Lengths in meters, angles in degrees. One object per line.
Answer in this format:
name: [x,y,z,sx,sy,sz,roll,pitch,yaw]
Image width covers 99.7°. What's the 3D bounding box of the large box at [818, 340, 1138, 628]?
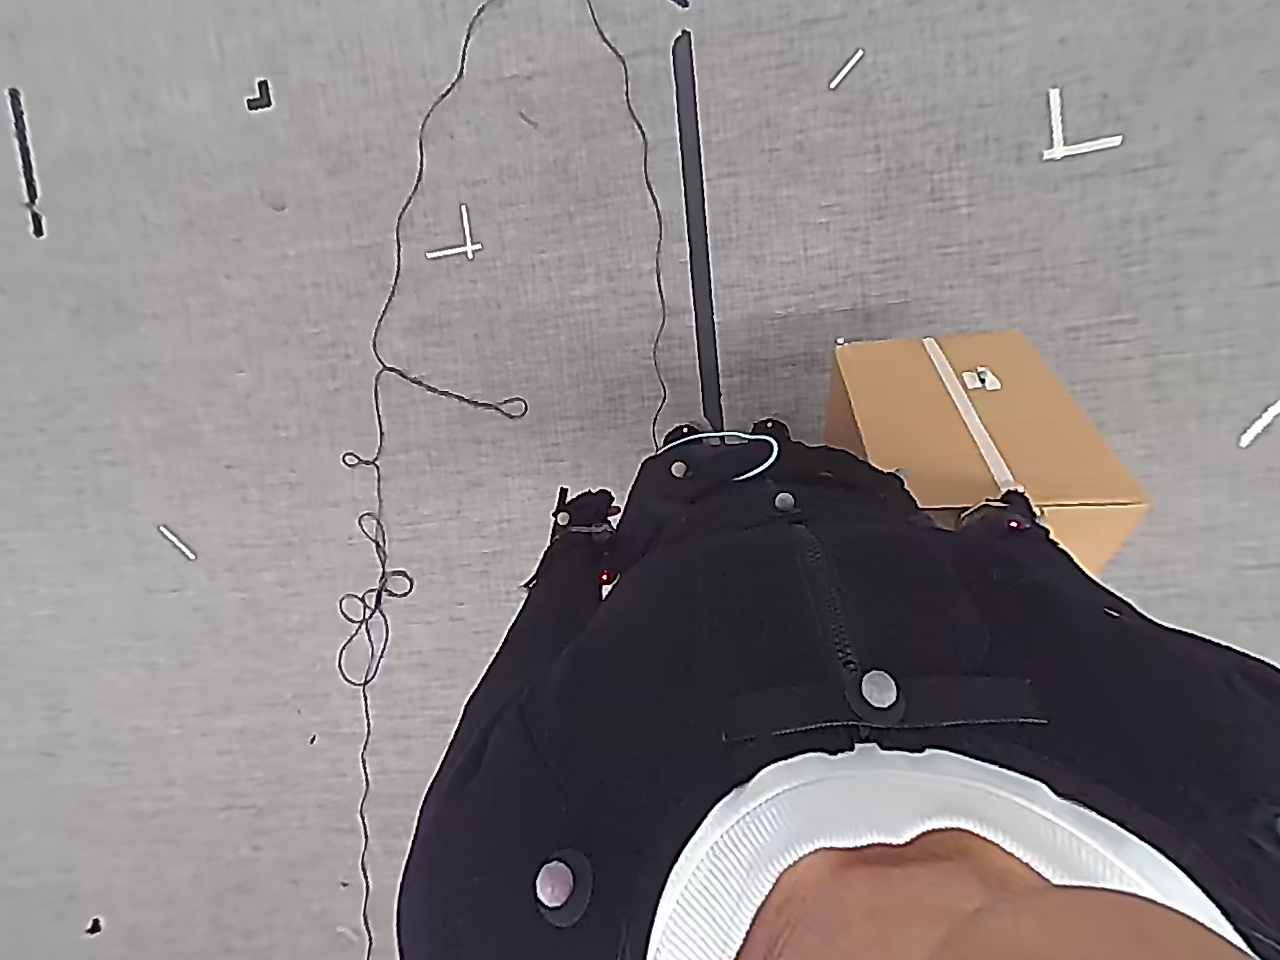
large box: [0.512,0.003,0.942,0.320,0.408,0.320,-2,134,7]
